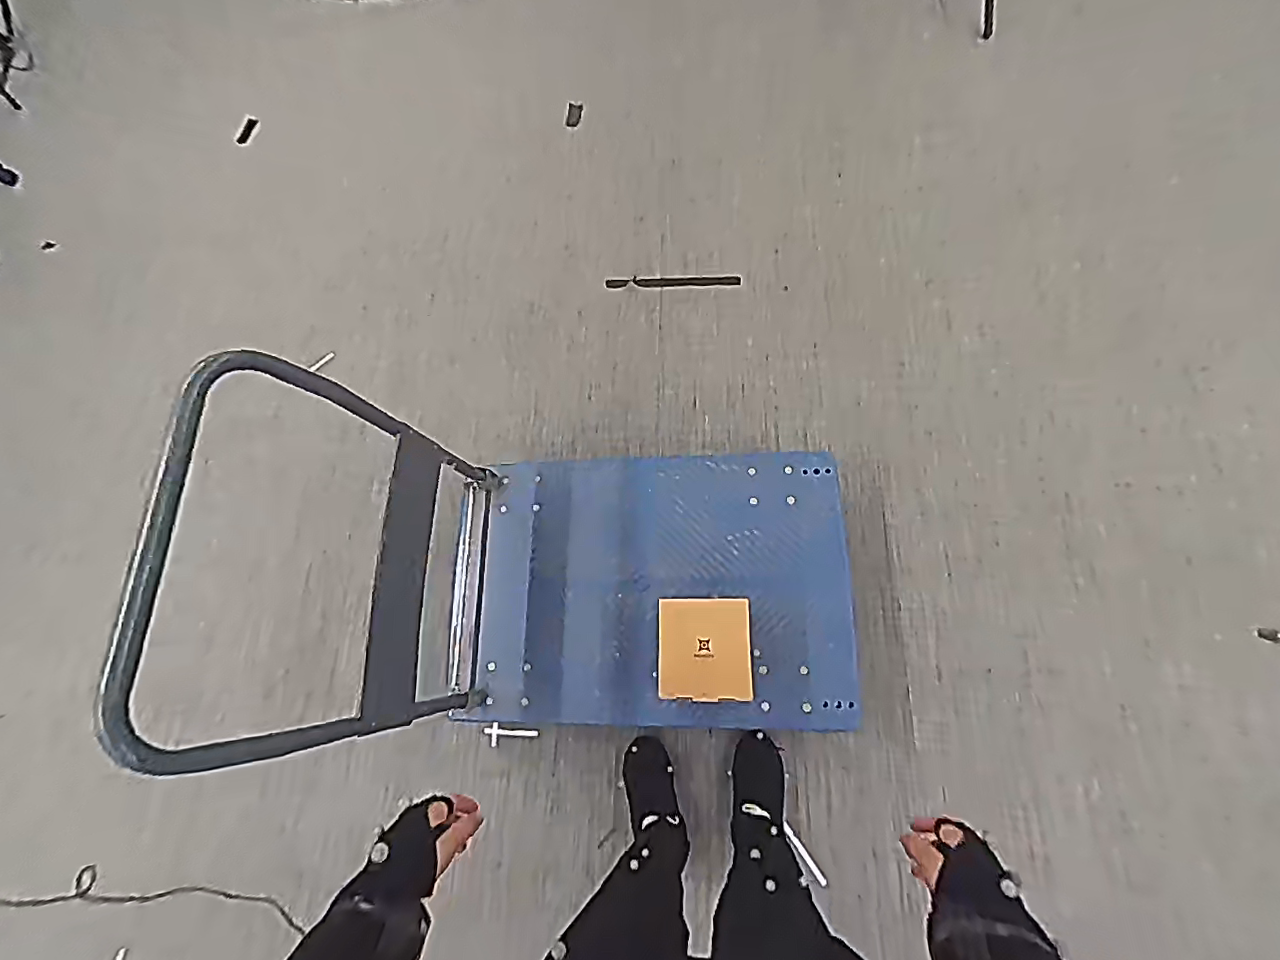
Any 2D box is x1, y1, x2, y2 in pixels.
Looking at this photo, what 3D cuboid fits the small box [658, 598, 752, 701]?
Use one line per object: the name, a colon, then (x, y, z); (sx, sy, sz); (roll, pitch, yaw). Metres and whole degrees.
small box: (0.124, 0.324, 1.041); (0.168, 0.176, 0.179); (-2, 73, 8)
